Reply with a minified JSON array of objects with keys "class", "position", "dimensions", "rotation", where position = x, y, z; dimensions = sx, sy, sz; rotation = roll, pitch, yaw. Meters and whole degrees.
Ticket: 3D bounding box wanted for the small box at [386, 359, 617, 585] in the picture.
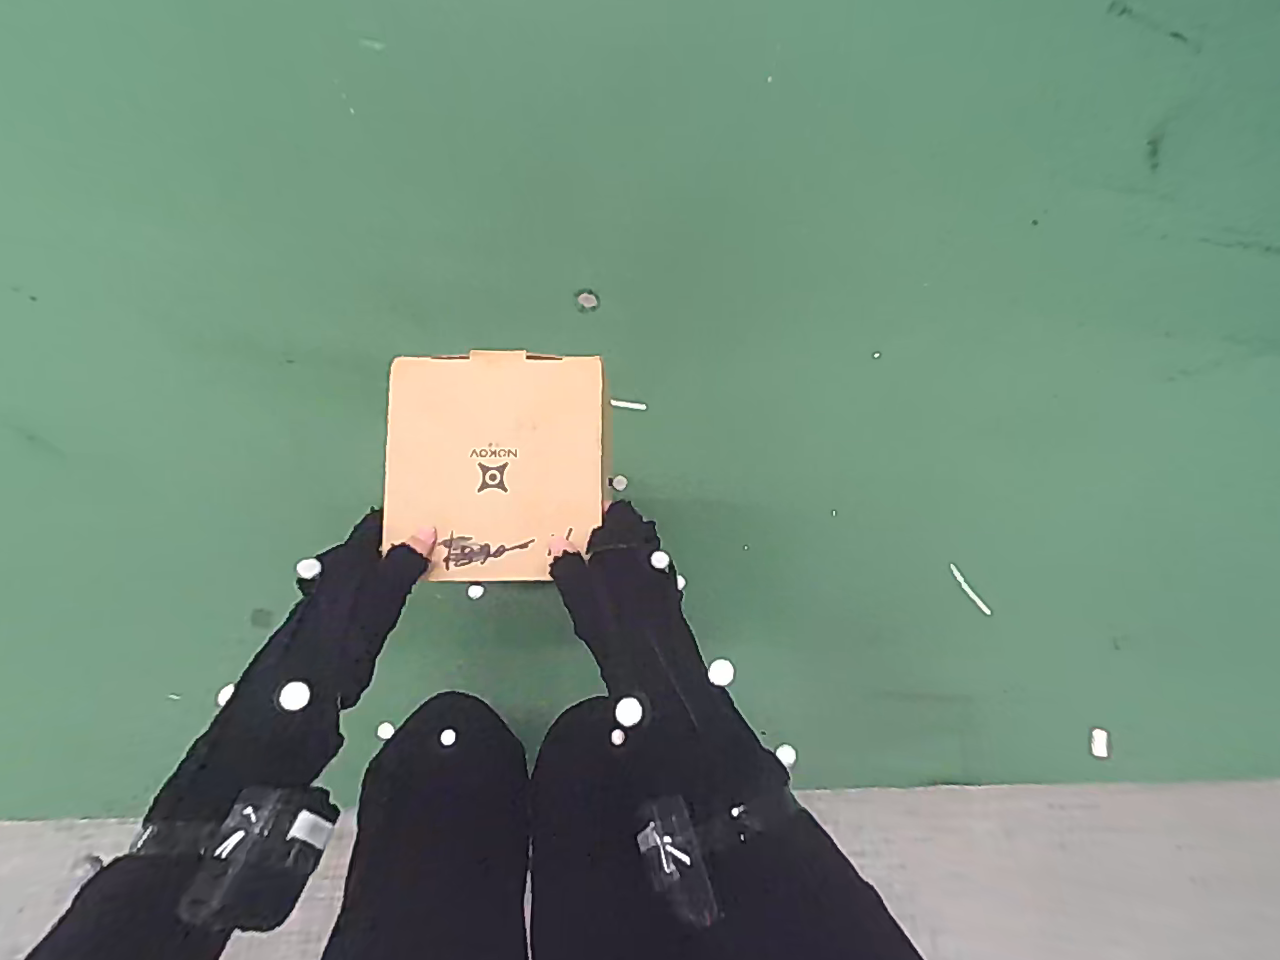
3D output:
[{"class":"small box","position":[-0.108,0.002,0.491],"dimensions":[0.168,0.176,0.179],"rotation":[0,83,0]}]
